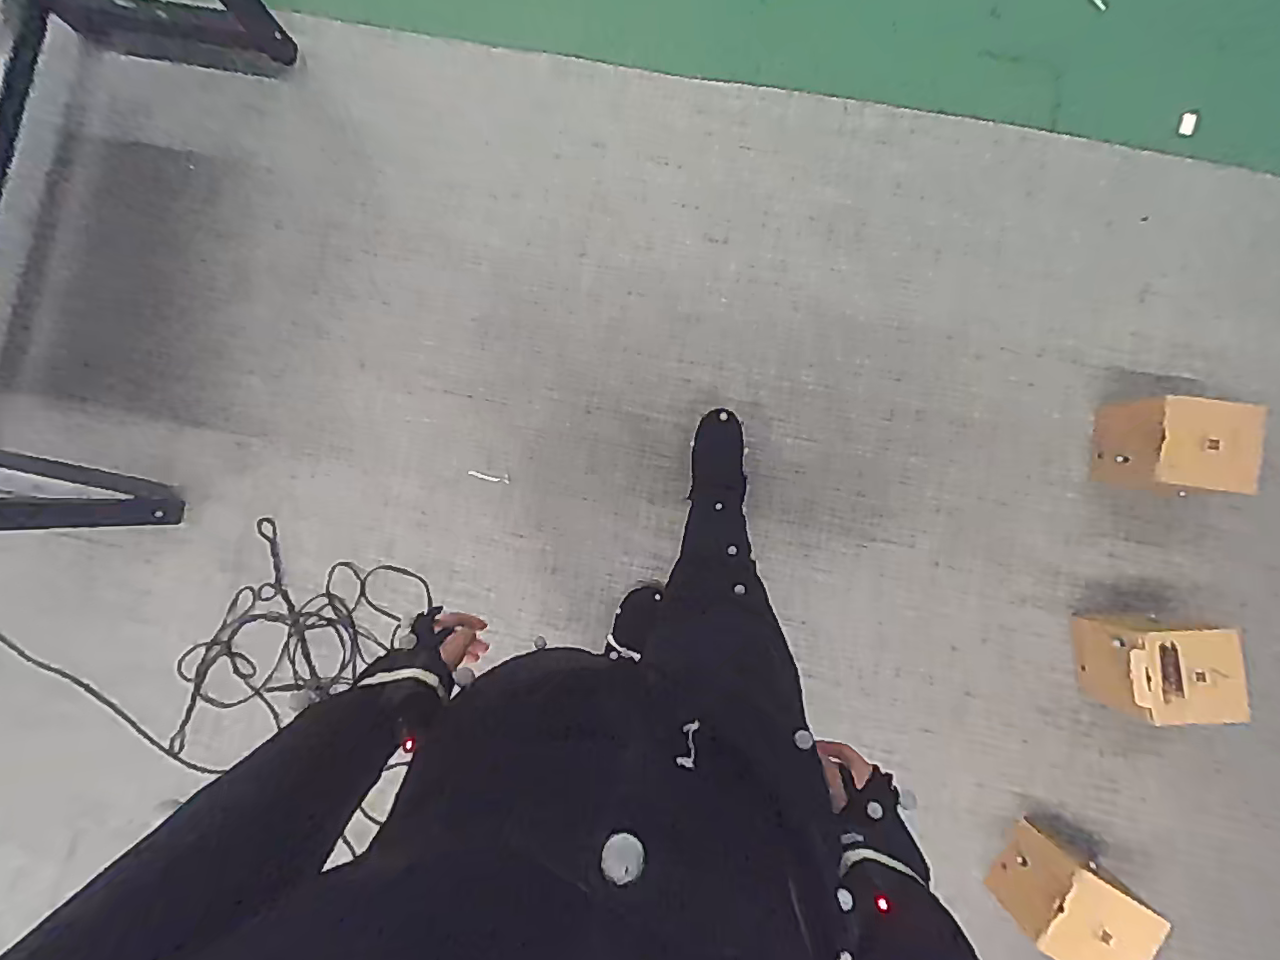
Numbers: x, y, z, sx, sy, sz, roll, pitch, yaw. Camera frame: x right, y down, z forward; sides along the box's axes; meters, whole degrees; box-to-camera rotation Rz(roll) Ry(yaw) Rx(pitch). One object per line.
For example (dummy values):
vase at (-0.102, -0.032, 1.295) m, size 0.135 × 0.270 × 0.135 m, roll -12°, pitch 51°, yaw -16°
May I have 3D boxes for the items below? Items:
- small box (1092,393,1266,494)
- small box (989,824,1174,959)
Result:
small box at (1.043, -0.064, 1.061) m, size 0.179 × 0.176 × 0.168 m, roll 8°, pitch 89°, yaw 3°
small box at (0.822, 0.805, 1.027) m, size 0.179 × 0.176 × 0.168 m, roll 31°, pitch 89°, yaw 5°
